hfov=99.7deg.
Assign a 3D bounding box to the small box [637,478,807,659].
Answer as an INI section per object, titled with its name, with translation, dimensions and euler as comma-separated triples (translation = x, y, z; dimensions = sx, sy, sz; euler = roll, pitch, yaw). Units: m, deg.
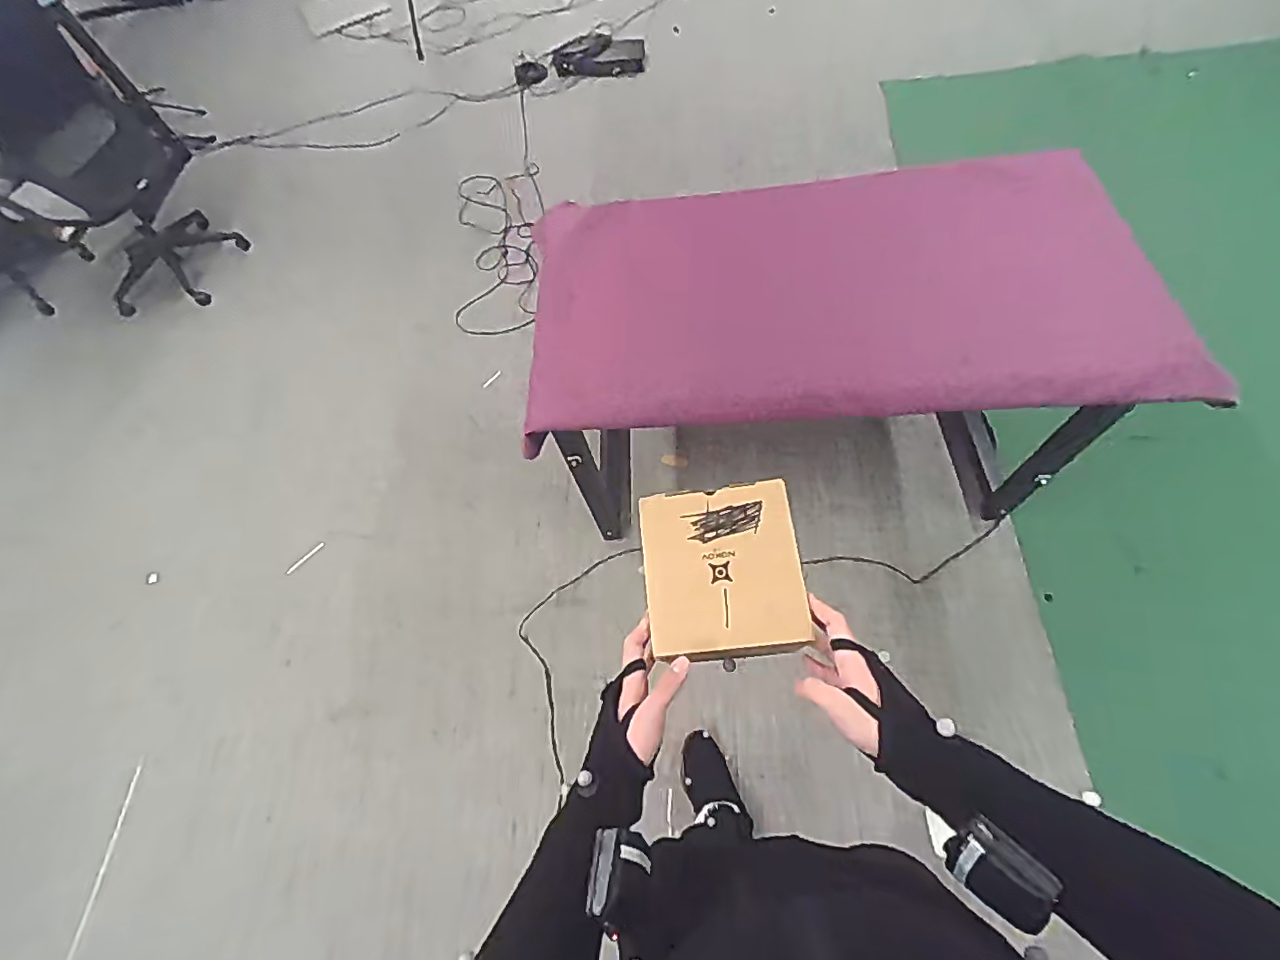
[small box]
translation = 0.093, 0.115, 0.650
dimensions = 0.168, 0.176, 0.179
euler = -8, 69, 7
